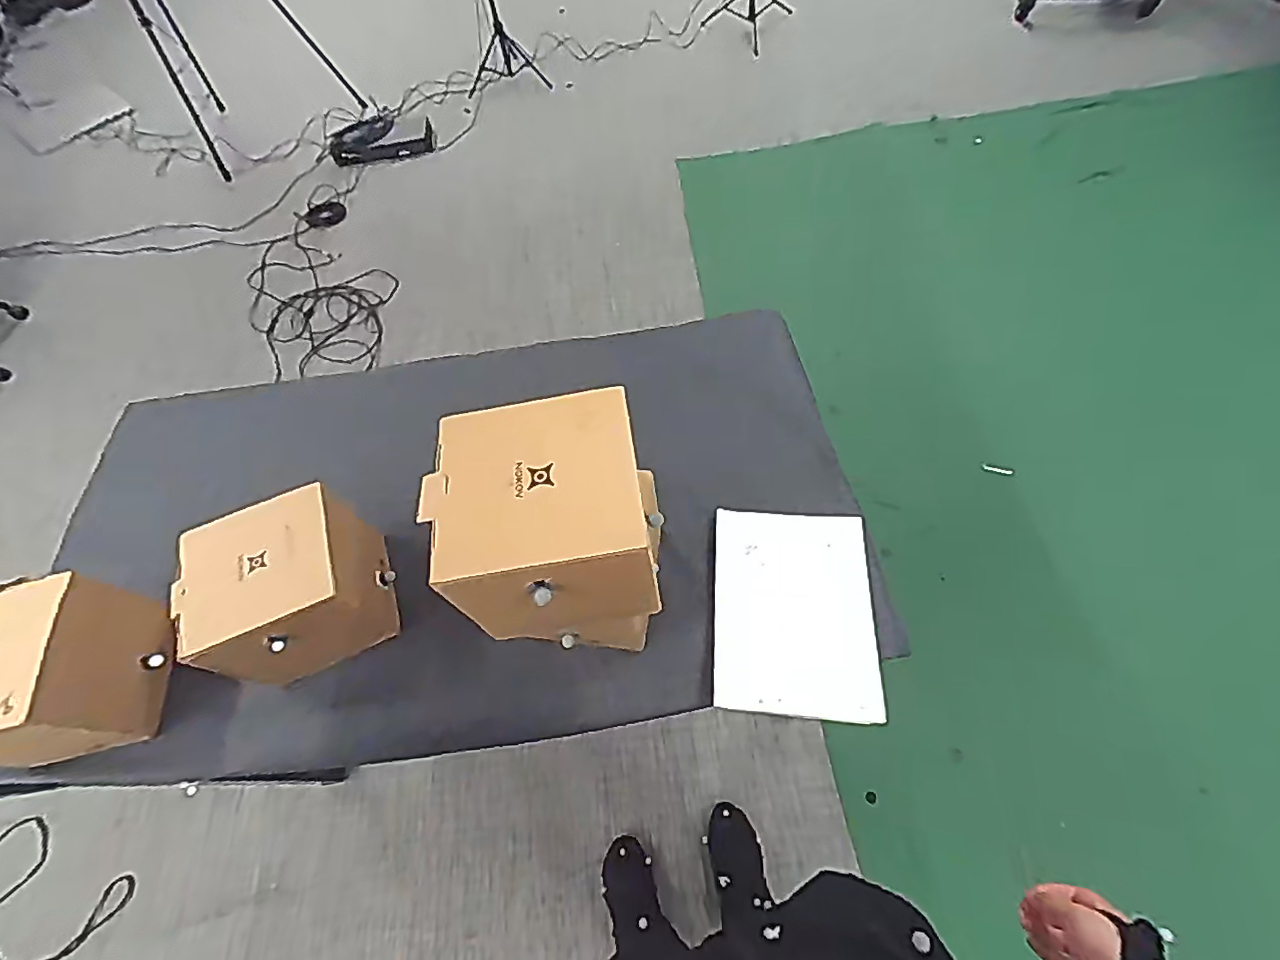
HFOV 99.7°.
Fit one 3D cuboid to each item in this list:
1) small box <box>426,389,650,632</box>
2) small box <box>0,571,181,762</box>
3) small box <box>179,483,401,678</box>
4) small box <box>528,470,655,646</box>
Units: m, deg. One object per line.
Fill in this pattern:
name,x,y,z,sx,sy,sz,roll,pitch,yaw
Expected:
small box,-0.087,0.038,0.532,0.179,0.176,0.168,-10,60,1
small box,-0.730,0.239,0.679,0.168,0.176,0.179,-14,60,-2
small box,-0.444,0.138,0.705,0.179,0.176,0.168,-23,61,-7
small box,-0.075,0.096,0.685,0.168,0.176,0.179,4,62,9
